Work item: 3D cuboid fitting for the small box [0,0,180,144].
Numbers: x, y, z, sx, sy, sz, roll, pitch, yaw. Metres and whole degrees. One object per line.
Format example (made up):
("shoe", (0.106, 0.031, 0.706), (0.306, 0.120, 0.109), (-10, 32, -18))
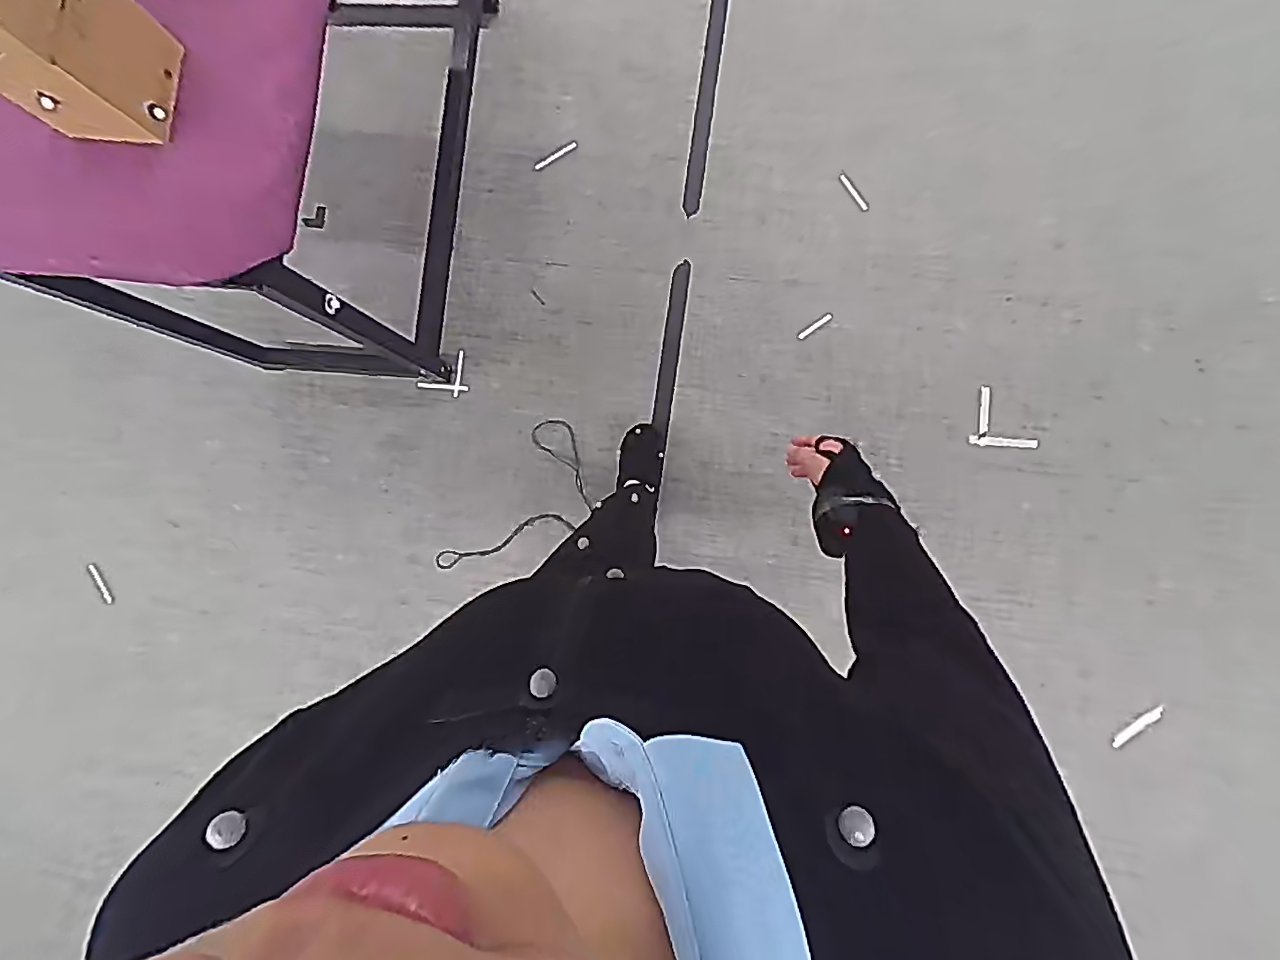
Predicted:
("small box", (-0.838, -0.631, 0.798), (0.179, 0.176, 0.168), (7, 86, 5))

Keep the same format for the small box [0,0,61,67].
("small box", (-0.841, -0.638, 0.633), (0.168, 0.176, 0.179), (6, 86, 5))
